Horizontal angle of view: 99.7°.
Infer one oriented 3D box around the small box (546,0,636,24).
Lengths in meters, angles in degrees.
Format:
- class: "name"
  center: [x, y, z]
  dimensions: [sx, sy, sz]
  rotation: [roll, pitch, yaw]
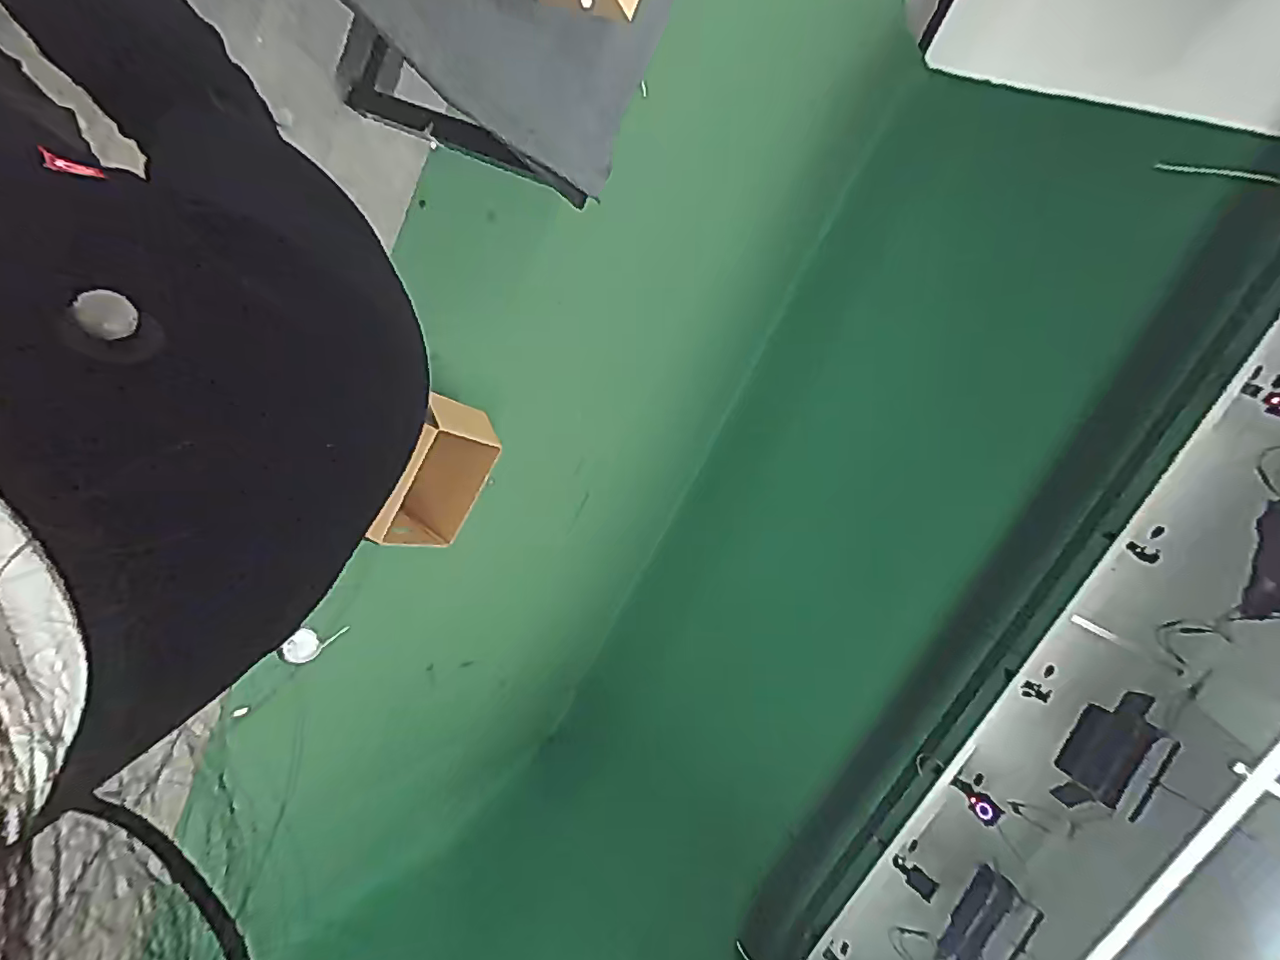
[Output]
- class: "small box"
  center: [-0.084, -0.718, 0.659]
  dimensions: [0.179, 0.176, 0.168]
  rotation: [0, 119, -63]
